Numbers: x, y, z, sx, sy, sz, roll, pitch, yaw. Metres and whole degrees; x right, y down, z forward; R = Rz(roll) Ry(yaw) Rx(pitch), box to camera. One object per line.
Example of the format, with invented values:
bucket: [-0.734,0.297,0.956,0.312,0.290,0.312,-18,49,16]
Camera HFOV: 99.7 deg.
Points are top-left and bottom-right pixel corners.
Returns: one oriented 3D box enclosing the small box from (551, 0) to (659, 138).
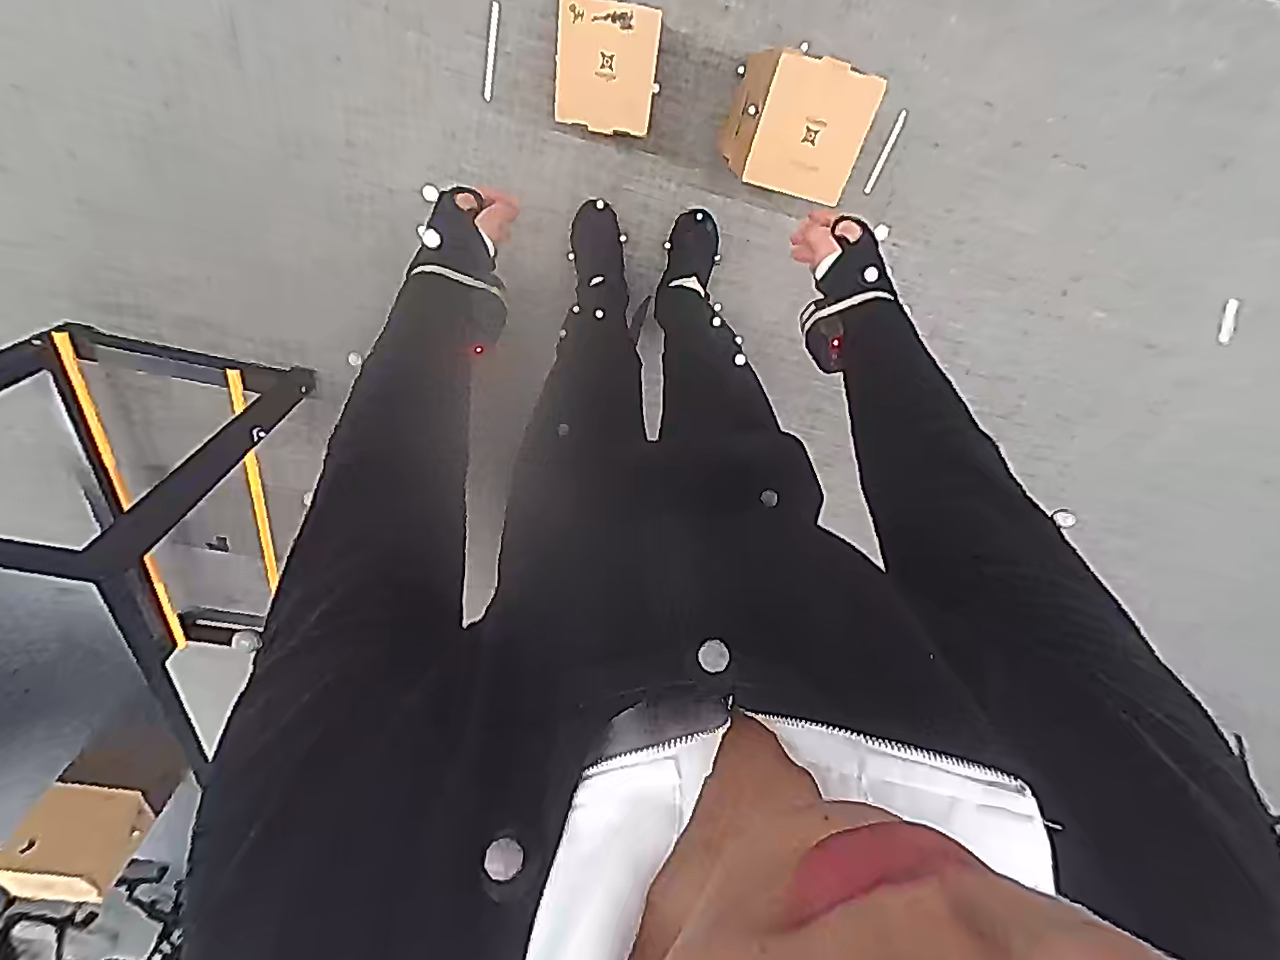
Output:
small box: [-0.062,-0.733,0.960,0.168,0.176,0.179,7,128,-6]

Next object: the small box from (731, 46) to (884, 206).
small box: [0.256,-0.577,0.882,0.168,0.176,0.179,11,128,-7]

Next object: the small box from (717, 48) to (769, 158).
small box: [0.259,-0.674,1.012,0.179,0.176,0.168,13,127,-12]

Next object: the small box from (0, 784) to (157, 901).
small box: [-1.244,0.801,1.203,0.179,0.176,0.168,13,126,-10]
